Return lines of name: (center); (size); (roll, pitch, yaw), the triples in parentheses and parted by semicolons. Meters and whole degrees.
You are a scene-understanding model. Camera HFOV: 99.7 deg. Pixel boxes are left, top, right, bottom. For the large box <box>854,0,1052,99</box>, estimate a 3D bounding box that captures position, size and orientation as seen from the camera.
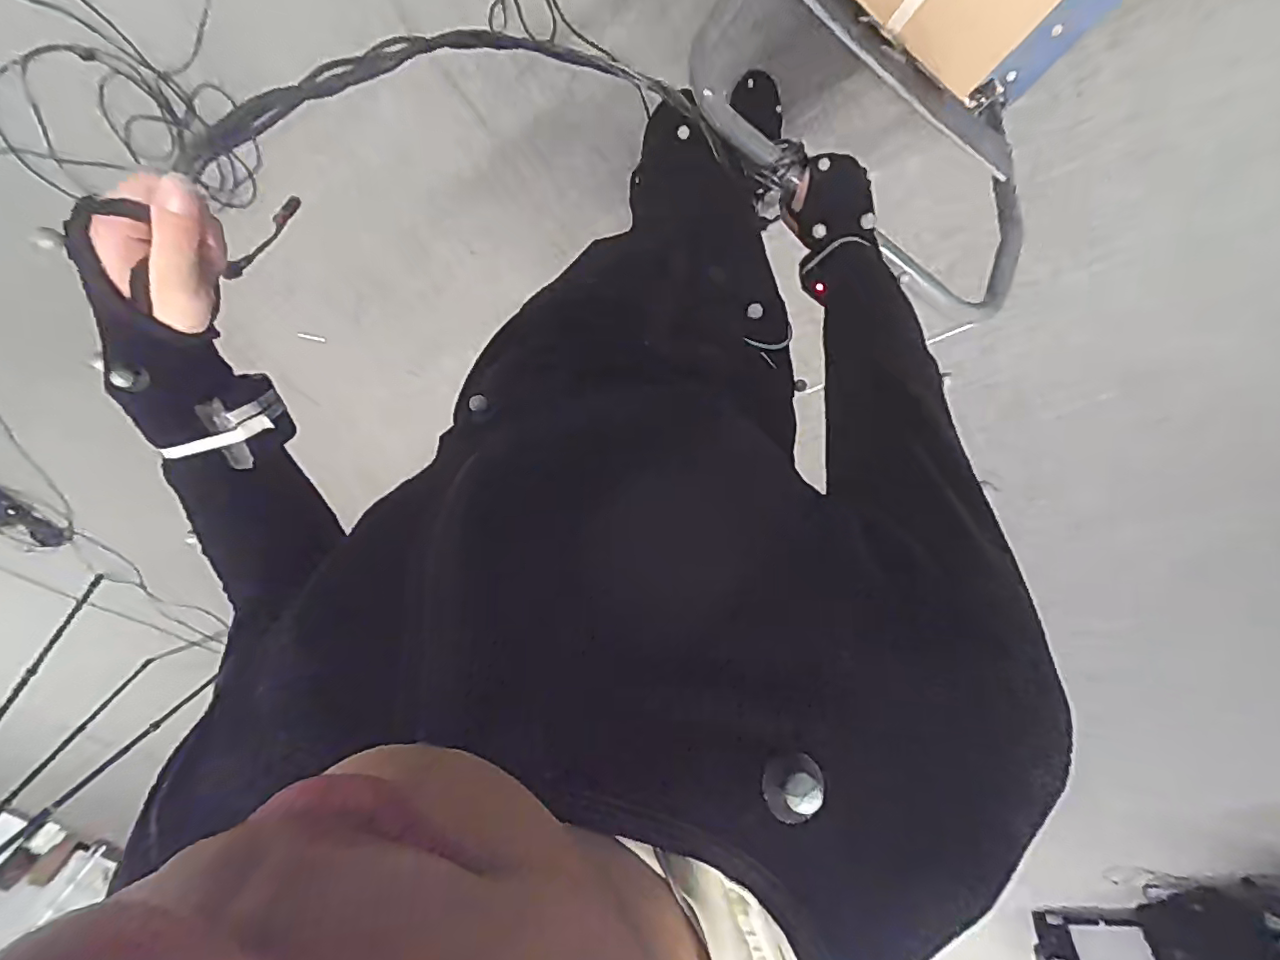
large box: (0.489, -0.846, 0.724); (0.320, 0.320, 0.408); (32, 141, -16)
